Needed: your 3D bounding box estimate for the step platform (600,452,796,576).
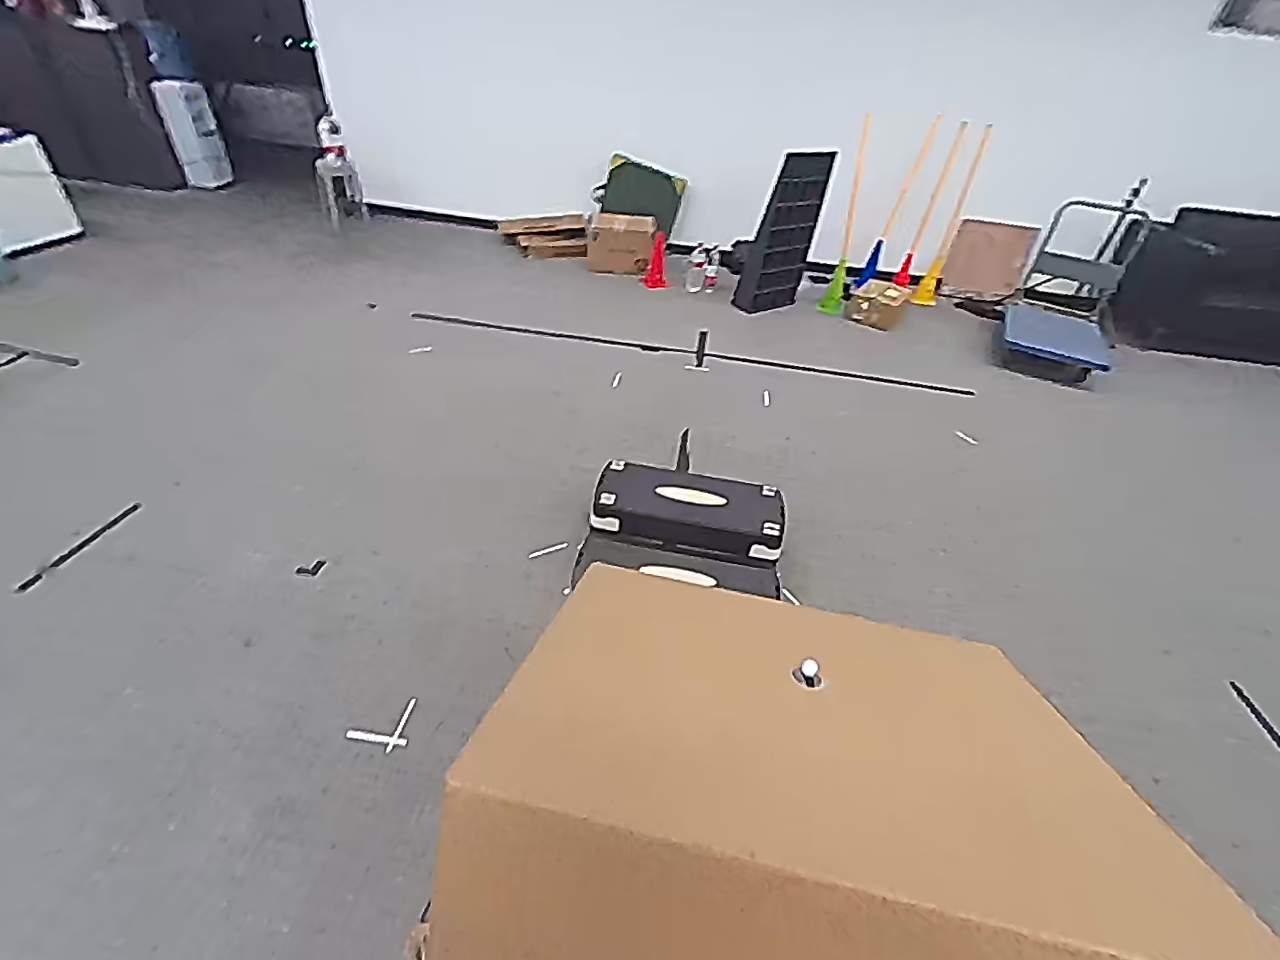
[{"bbox_3d":[0.207,0.112,1.944,0.684,0.204,0.286,14,40,7],"label":"step platform"}]
